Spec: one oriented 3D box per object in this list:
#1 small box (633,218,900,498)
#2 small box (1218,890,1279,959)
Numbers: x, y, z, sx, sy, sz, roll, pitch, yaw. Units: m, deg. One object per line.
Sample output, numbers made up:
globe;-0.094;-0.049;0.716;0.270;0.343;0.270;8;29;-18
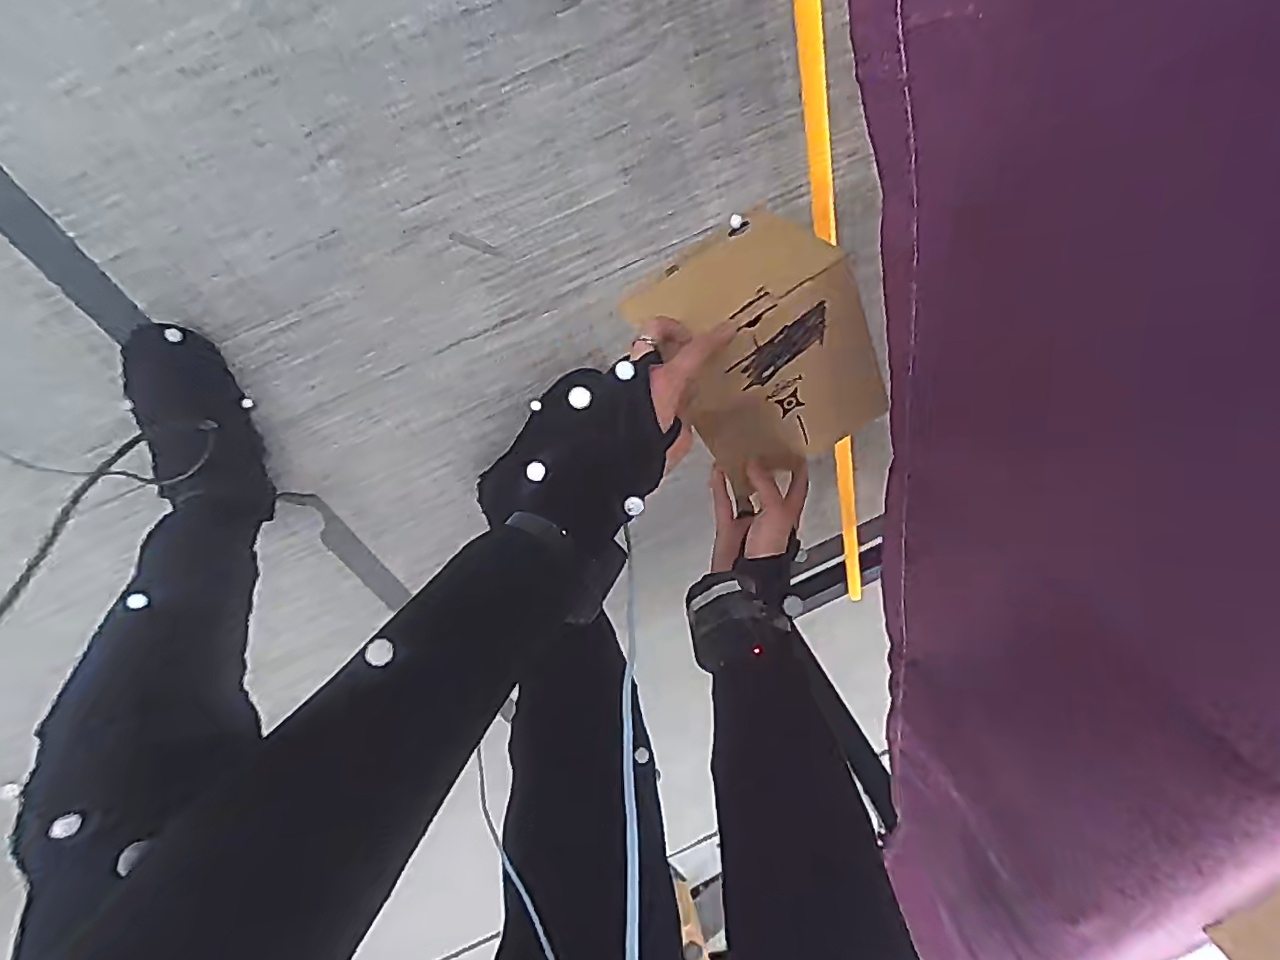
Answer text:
small box;0.114;-0.123;0.517;0.168;0.176;0.179;-31;132;9
small box;0.560;0.352;0.355;0.168;0.176;0.179;-22;128;-2
